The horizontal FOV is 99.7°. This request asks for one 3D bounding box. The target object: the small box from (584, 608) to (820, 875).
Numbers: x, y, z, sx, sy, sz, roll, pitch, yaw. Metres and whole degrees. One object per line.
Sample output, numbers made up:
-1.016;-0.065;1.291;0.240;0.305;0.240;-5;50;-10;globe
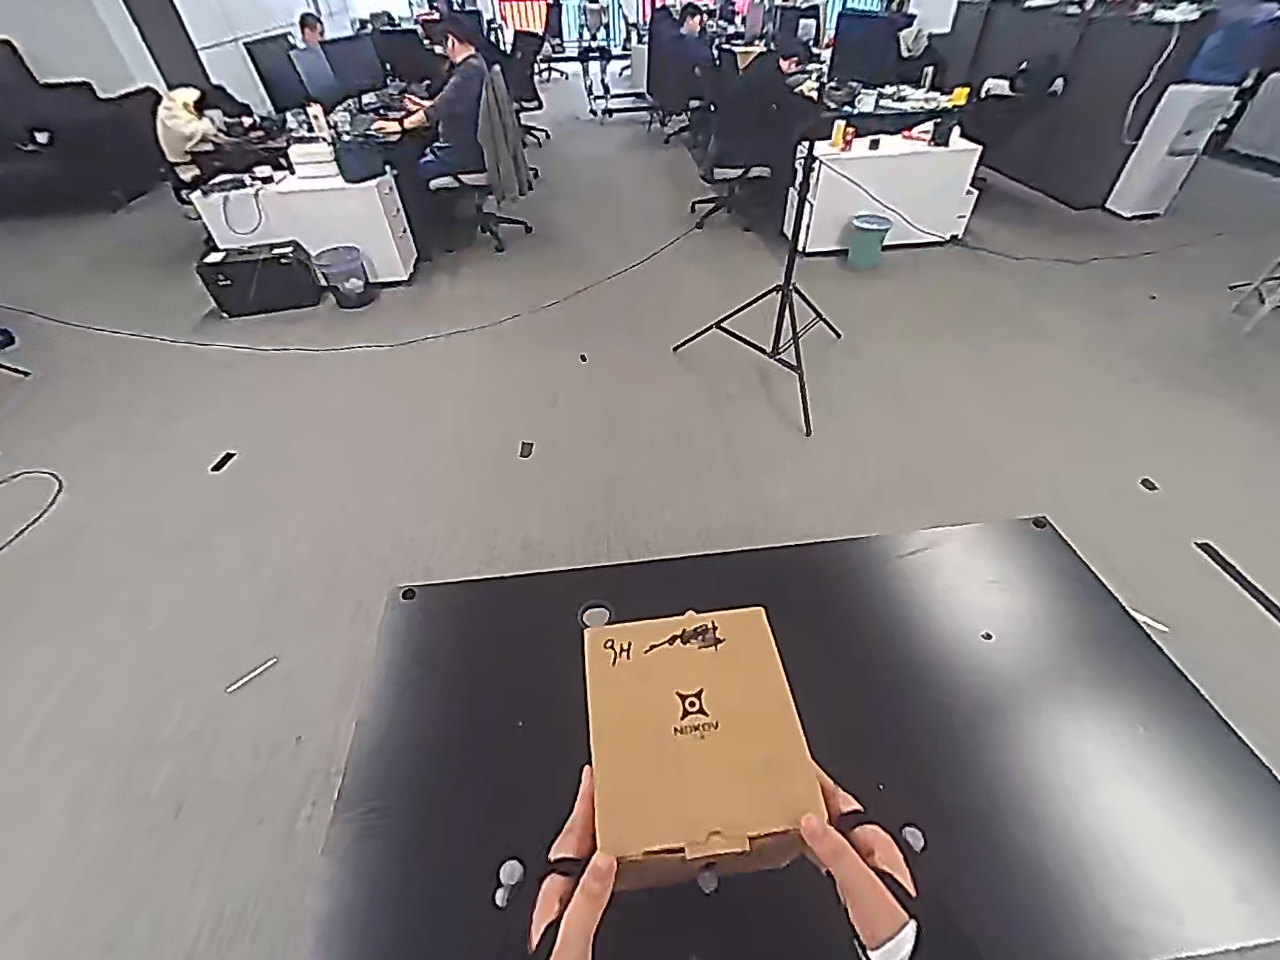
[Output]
0.042;0.242;0.493;0.168;0.176;0.179;-6;49;-4;small box
